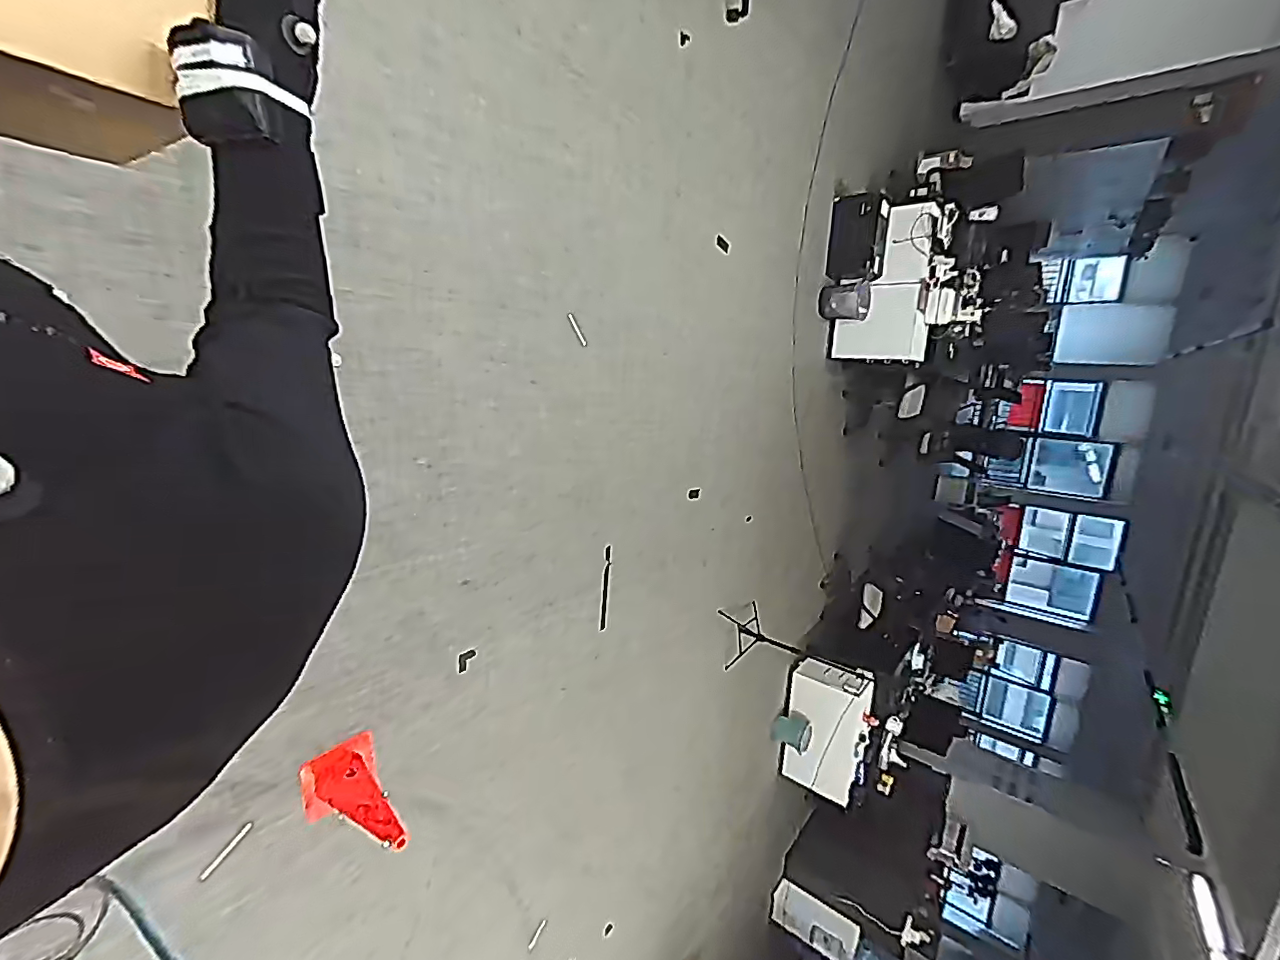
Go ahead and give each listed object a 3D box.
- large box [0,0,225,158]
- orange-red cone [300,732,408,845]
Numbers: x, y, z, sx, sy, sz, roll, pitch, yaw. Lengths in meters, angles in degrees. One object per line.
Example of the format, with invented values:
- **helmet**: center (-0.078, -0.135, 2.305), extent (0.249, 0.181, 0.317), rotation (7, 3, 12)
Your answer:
- **large box**: center (-0.533, -0.426, 0.297), extent (0.408, 0.320, 0.320), rotation (-11, 113, -53)
- **orange-red cone**: center (-0.754, 0.894, 1.491), extent (0.198, 0.360, 0.199), rotation (-15, 110, -51)
